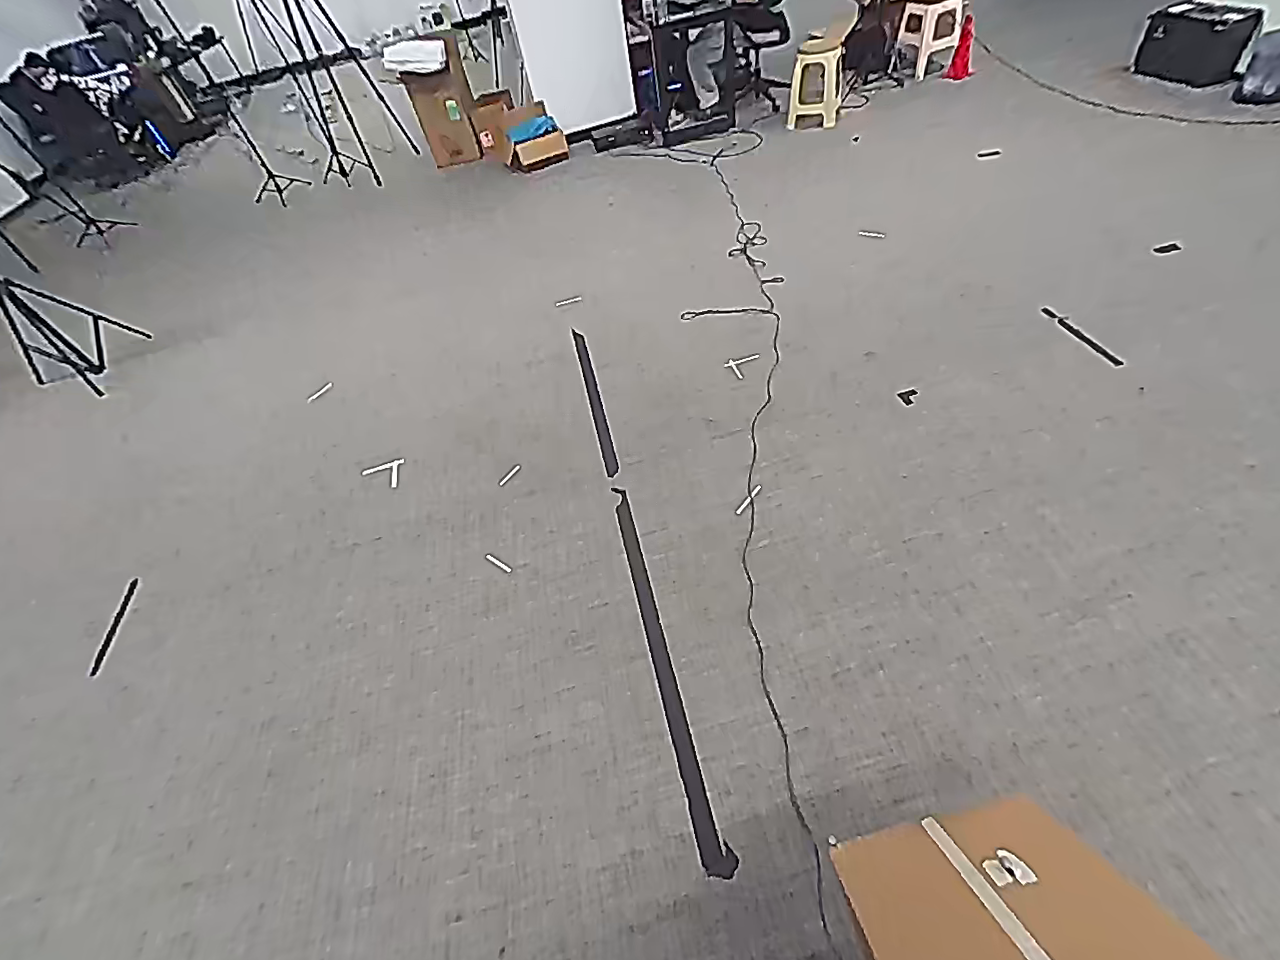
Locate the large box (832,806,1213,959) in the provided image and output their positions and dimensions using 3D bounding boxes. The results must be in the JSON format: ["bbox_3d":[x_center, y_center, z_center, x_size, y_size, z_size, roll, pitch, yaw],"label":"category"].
[{"bbox_3d":[0.475,0.672,0.622,0.320,0.408,0.320,-16,86,2],"label":"large box"}]
